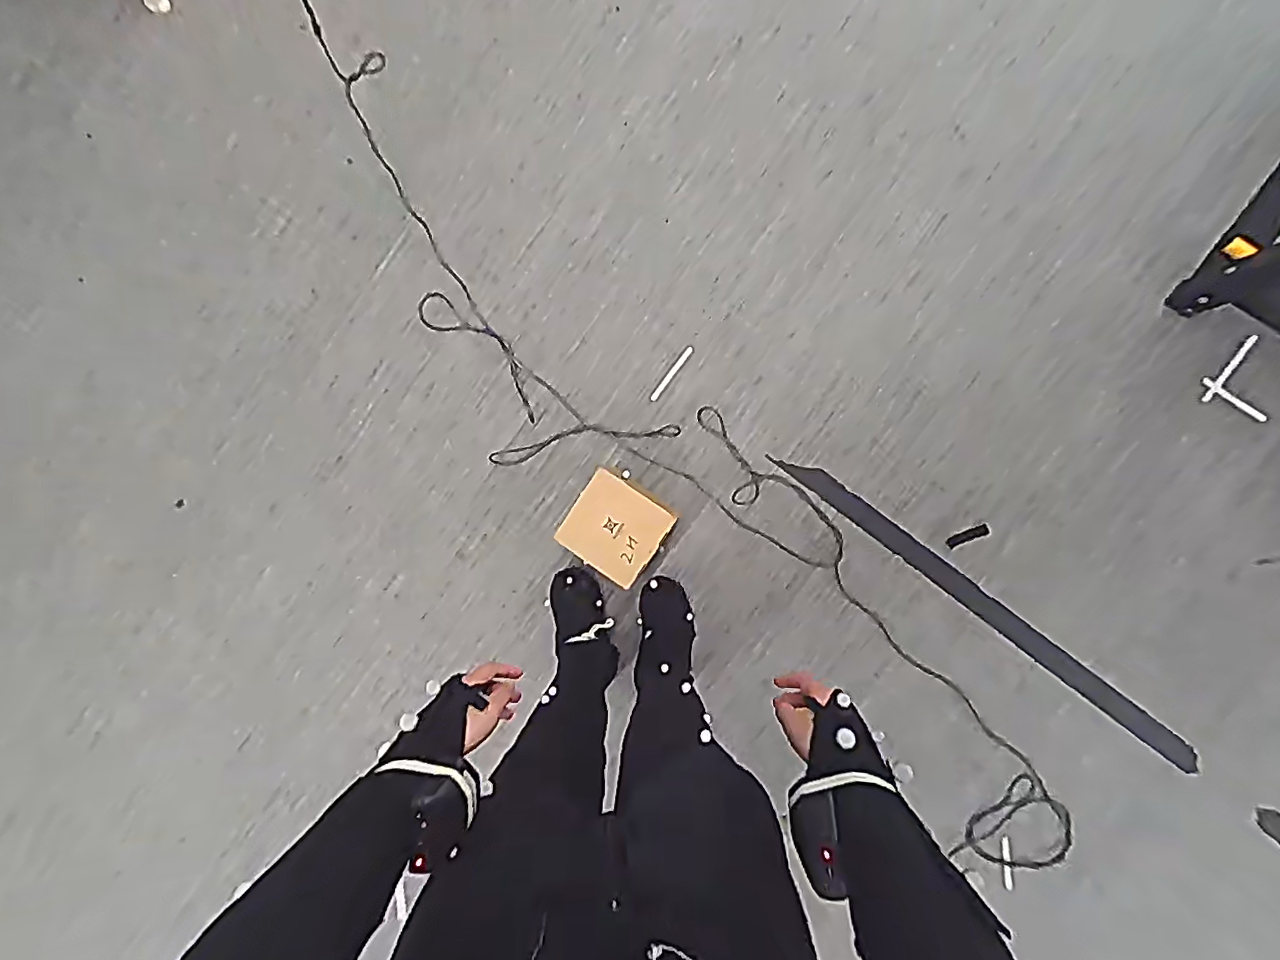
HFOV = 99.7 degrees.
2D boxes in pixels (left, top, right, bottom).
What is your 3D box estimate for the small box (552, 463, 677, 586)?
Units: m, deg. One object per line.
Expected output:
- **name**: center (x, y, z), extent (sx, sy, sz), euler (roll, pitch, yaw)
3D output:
- **small box**: center (-0.043, 0.083, 1.075), extent (0.179, 0.176, 0.168), euler (34, 95, 4)
